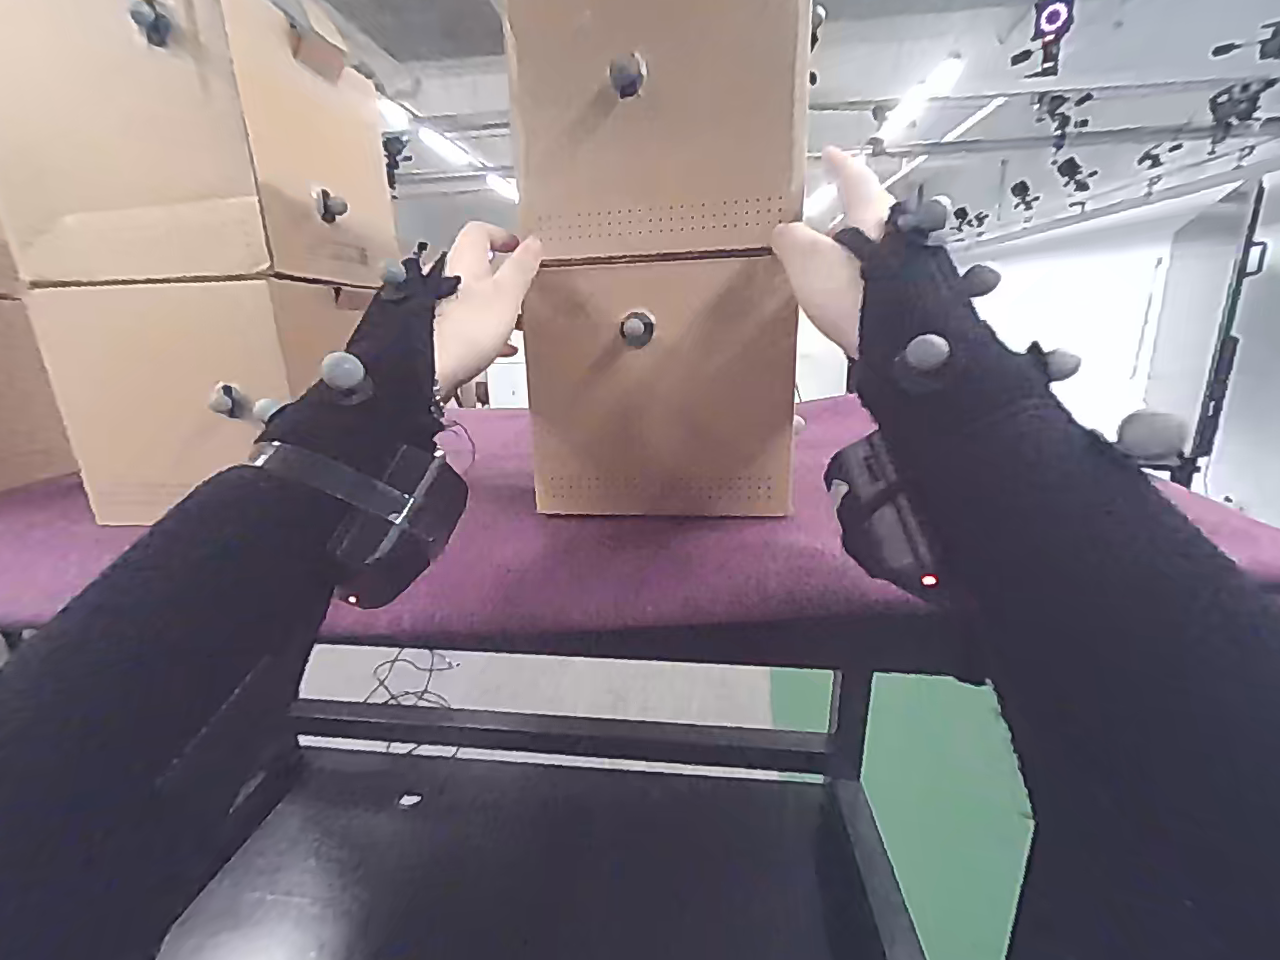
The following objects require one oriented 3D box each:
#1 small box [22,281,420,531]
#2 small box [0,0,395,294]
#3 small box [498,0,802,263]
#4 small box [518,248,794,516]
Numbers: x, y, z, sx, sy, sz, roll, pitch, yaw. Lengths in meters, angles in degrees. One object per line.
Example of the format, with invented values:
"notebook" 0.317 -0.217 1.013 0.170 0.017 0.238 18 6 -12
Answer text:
"small box" -0.302 -0.063 0.437 0.179 0.176 0.168 -1 16 5
"small box" -0.309 -0.221 0.395 0.179 0.176 0.168 -1 16 4
"small box" 0.018 -0.233 0.384 0.179 0.176 0.168 -1 15 9
"small box" 0.021 -0.073 0.424 0.179 0.176 0.168 1 15 8
